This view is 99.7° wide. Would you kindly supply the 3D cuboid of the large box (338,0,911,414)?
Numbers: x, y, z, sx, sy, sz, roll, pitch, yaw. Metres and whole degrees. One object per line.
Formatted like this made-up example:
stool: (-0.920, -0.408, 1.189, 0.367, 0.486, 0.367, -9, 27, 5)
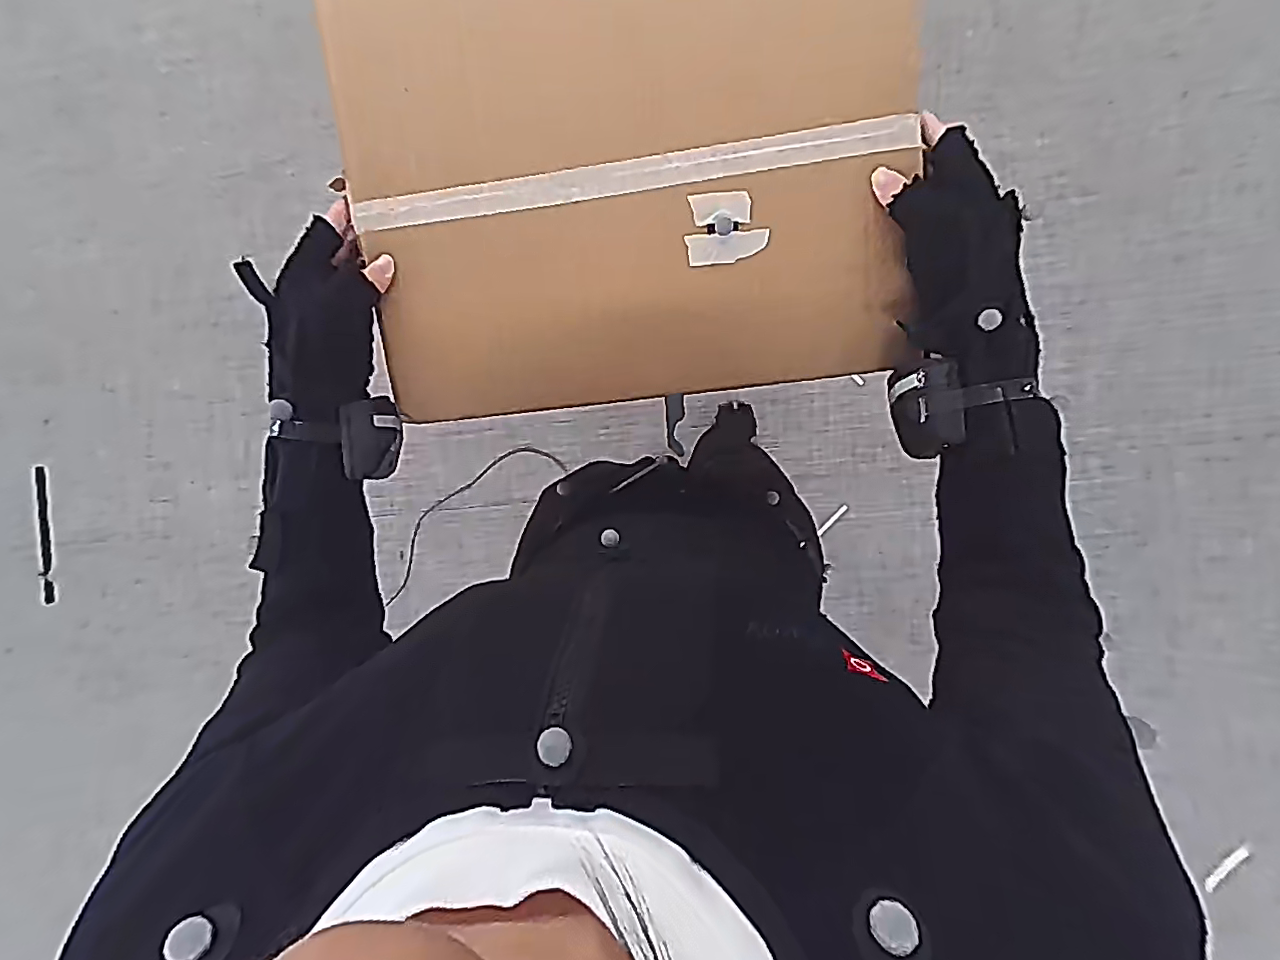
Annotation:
large box: (0.001, -0.255, 0.548, 0.408, 0.320, 0.320, -6, 102, 5)
